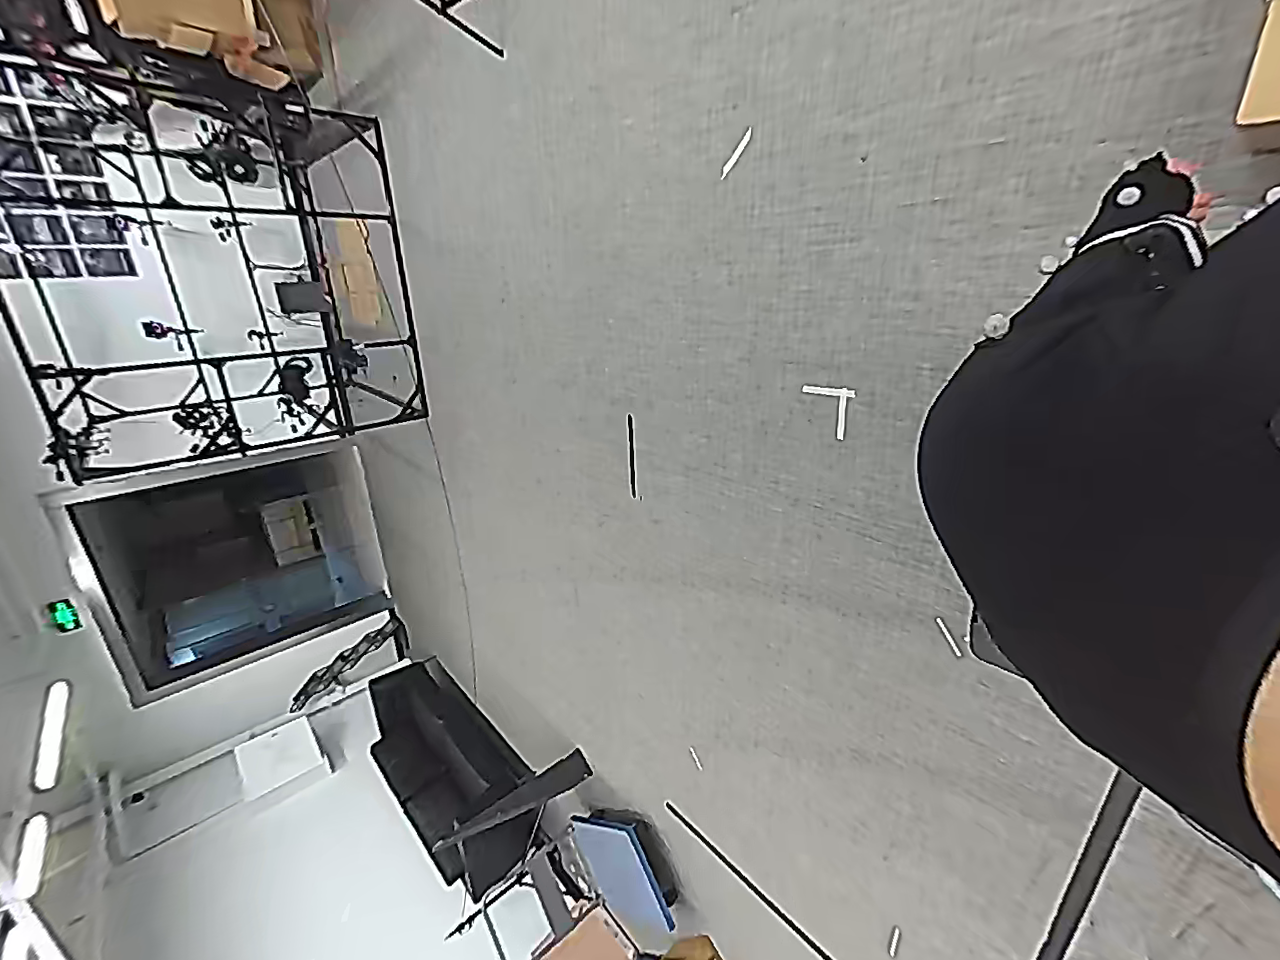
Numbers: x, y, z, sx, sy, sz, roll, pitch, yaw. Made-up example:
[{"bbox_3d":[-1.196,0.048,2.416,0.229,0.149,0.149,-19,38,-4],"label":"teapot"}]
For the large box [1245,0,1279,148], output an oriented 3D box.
[{"bbox_3d":[1.070,-0.634,0.654,0.408,0.320,0.320,19,119,44],"label":"large box"}]
